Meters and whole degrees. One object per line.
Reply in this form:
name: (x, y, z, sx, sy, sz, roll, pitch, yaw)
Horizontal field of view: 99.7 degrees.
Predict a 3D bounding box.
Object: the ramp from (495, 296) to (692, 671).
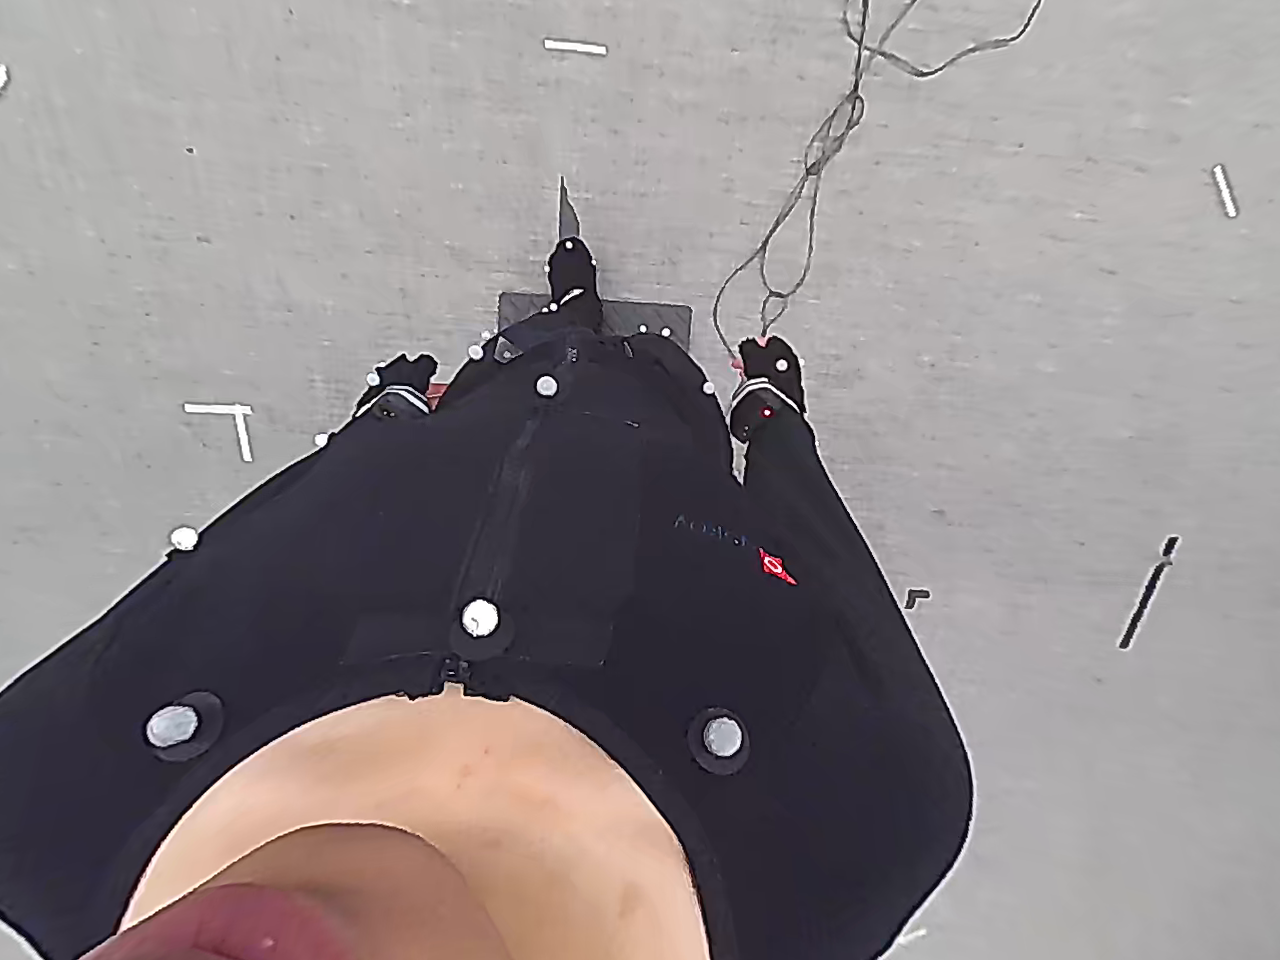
ramp: (-0.137, 0.035, 1.453, 0.509, 0.206, 0.991, 2, 108, -1)
